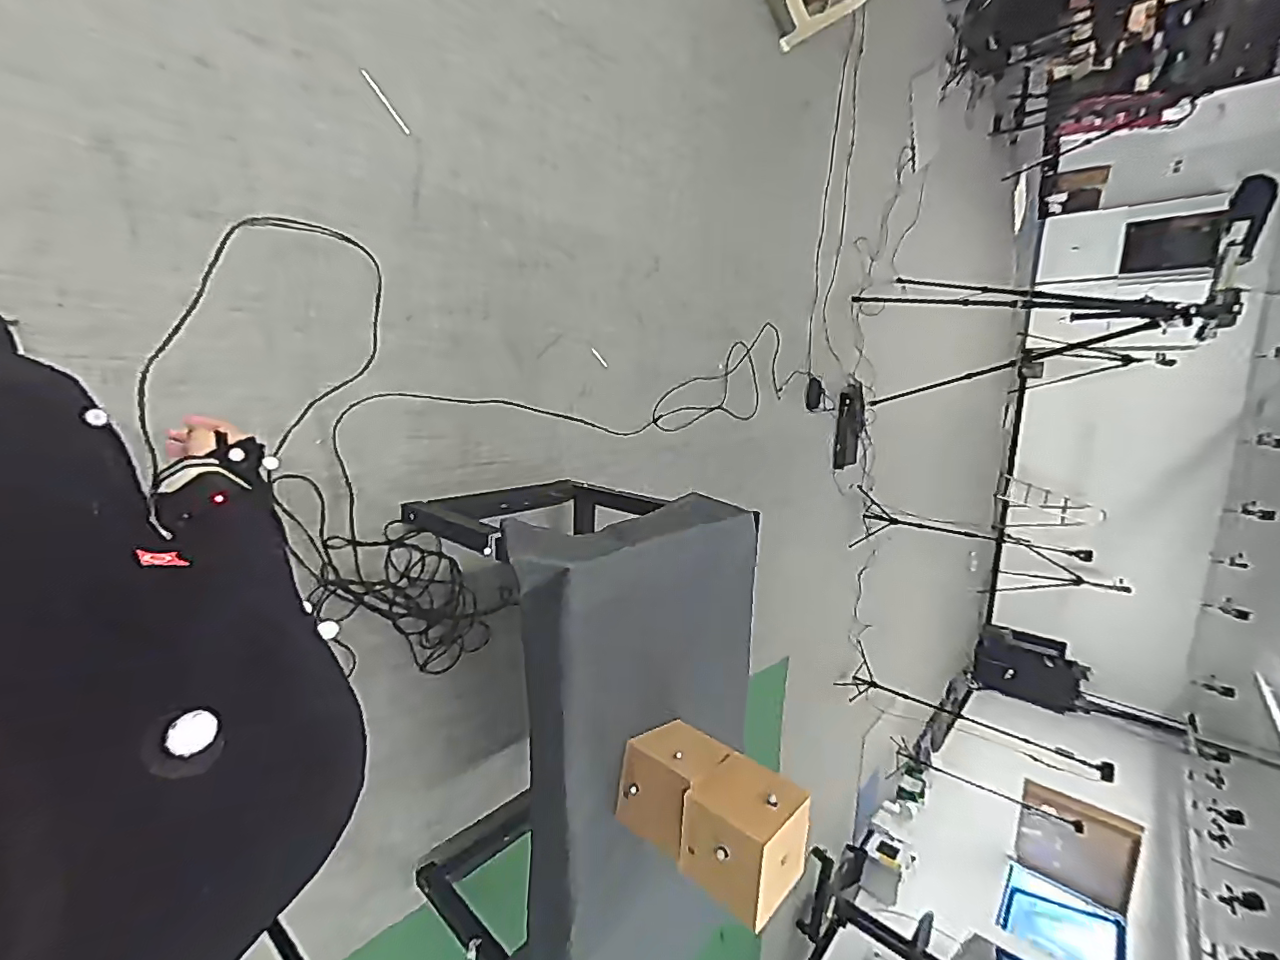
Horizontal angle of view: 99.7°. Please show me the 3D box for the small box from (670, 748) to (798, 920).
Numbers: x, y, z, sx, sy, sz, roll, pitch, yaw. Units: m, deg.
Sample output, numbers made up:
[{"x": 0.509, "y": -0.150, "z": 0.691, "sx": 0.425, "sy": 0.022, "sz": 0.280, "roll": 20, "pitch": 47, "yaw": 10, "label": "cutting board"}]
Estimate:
[{"x": 0.172, "y": 0.639, "z": 1.004, "sx": 0.179, "sy": 0.176, "sz": 0.168, "roll": -6, "pitch": 102, "yaw": -48, "label": "small box"}]
